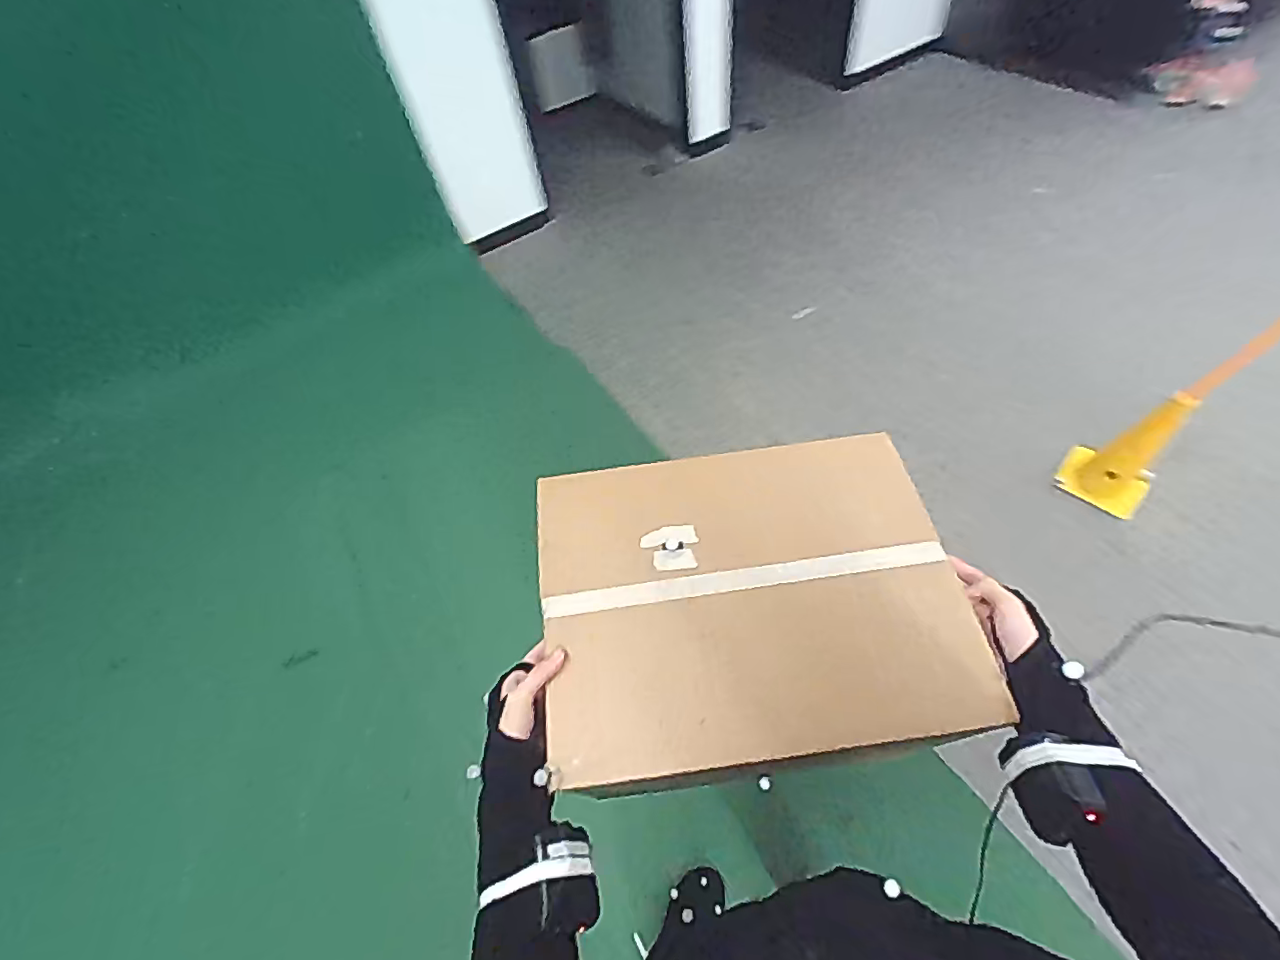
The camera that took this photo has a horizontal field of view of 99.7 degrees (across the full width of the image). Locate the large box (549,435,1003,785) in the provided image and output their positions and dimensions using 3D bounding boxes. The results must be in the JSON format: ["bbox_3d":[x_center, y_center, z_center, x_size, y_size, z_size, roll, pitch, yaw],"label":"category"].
[{"bbox_3d":[0.122,0.180,0.678,0.408,0.320,0.320,-8,58,1],"label":"large box"}]
